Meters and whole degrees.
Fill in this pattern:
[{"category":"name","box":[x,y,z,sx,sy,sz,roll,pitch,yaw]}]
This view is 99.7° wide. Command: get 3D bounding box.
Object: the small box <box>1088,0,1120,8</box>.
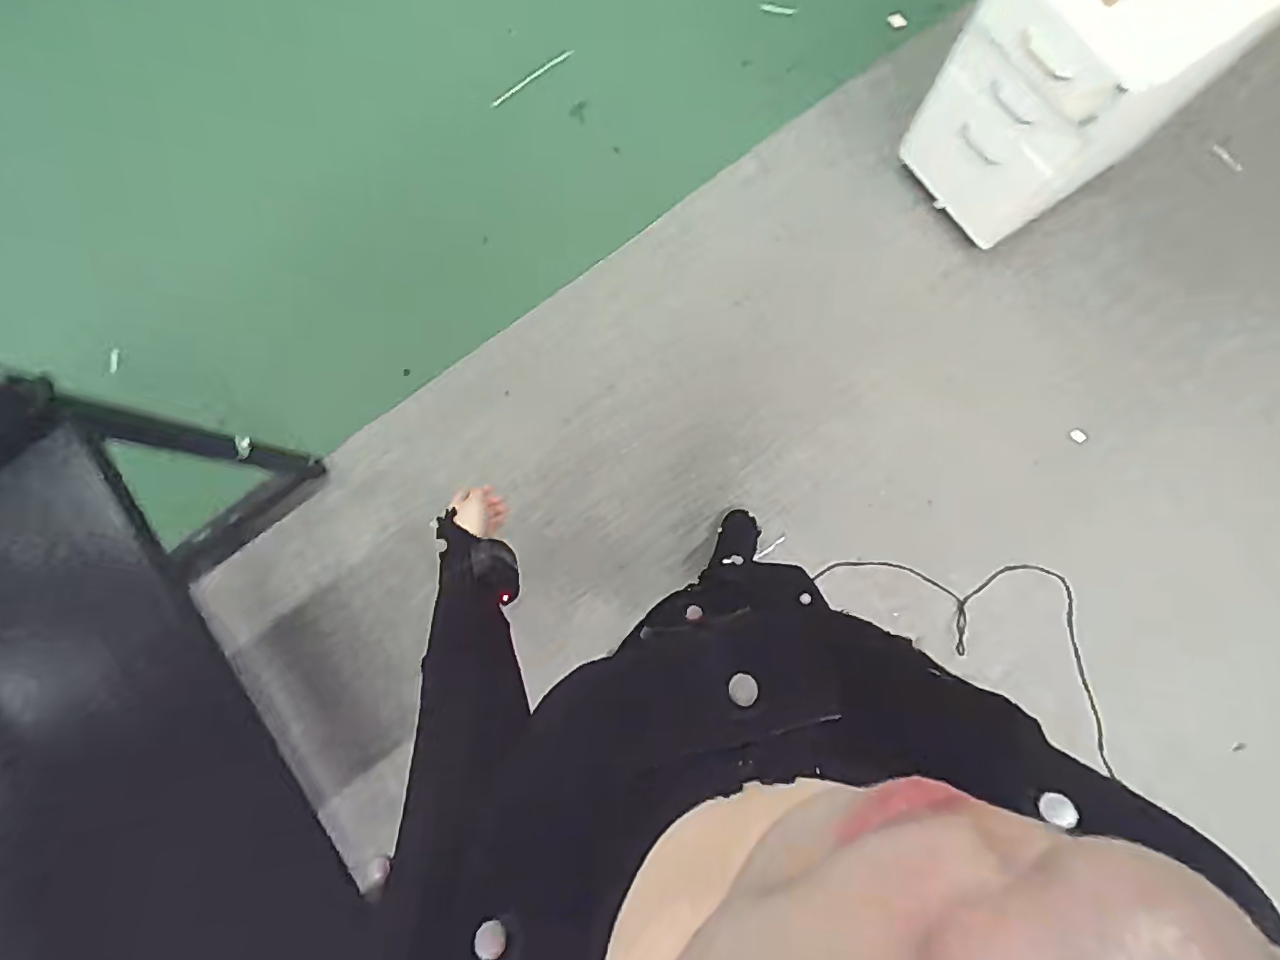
[{"category":"small box","box":[0.887,-1.005,0.954,0.168,0.176,0.179,-29,82,-1]}]
